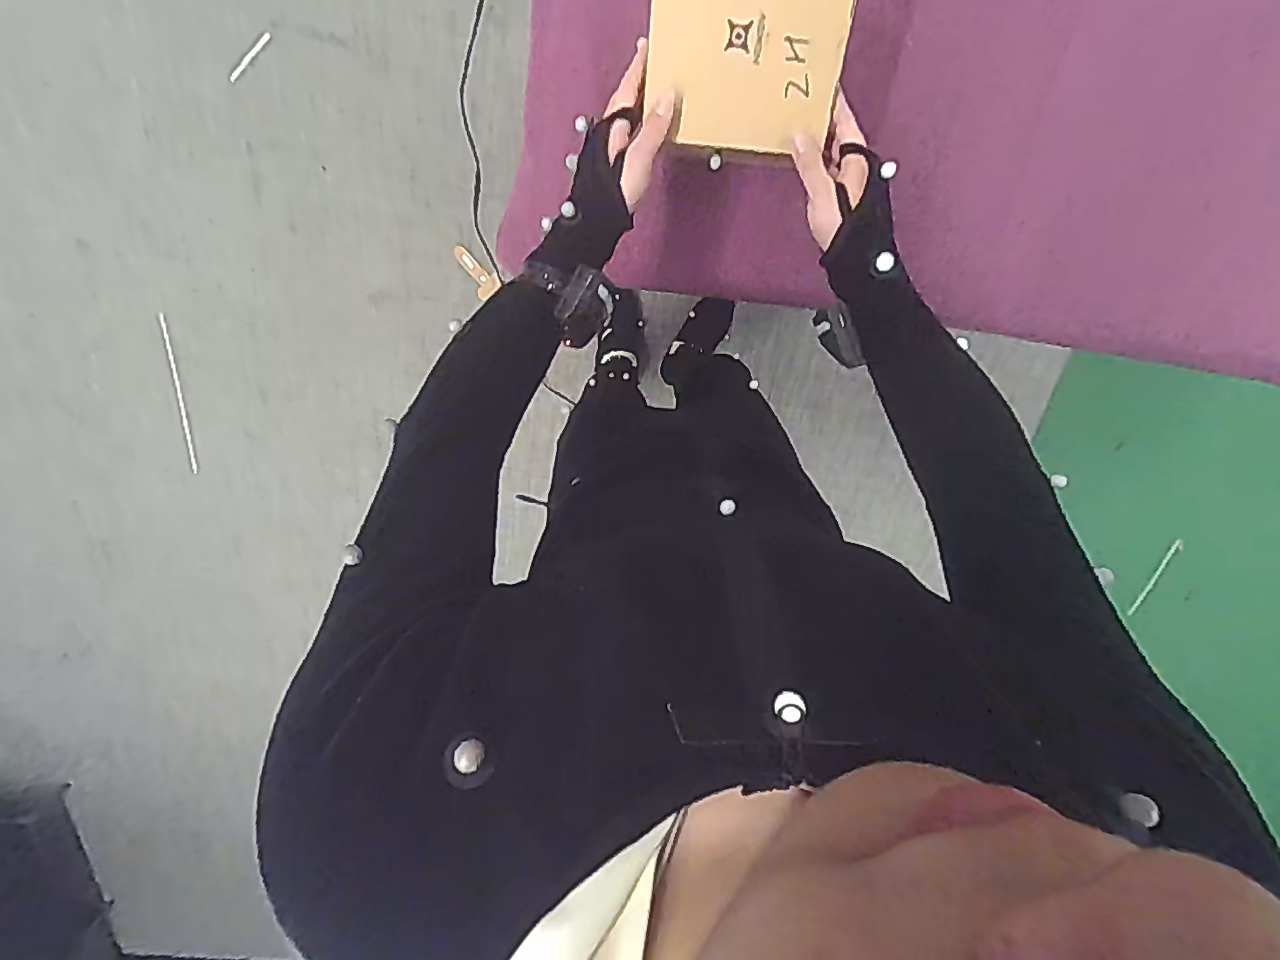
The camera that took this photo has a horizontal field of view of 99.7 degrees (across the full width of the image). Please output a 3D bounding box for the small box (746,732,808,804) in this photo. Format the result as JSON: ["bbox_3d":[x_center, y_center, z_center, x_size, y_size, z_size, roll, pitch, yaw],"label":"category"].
[{"bbox_3d":[0.516,1.097,2.066,0.168,0.176,0.179,10,114,-5],"label":"small box"}]

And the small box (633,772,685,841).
[{"bbox_3d":[0.072,1.295,2.149,0.179,0.176,0.168,8,114,-5],"label":"small box"}]

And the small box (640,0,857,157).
[{"bbox_3d":[0.099,-0.427,0.536,0.179,0.176,0.168,6,118,0],"label":"small box"}]
